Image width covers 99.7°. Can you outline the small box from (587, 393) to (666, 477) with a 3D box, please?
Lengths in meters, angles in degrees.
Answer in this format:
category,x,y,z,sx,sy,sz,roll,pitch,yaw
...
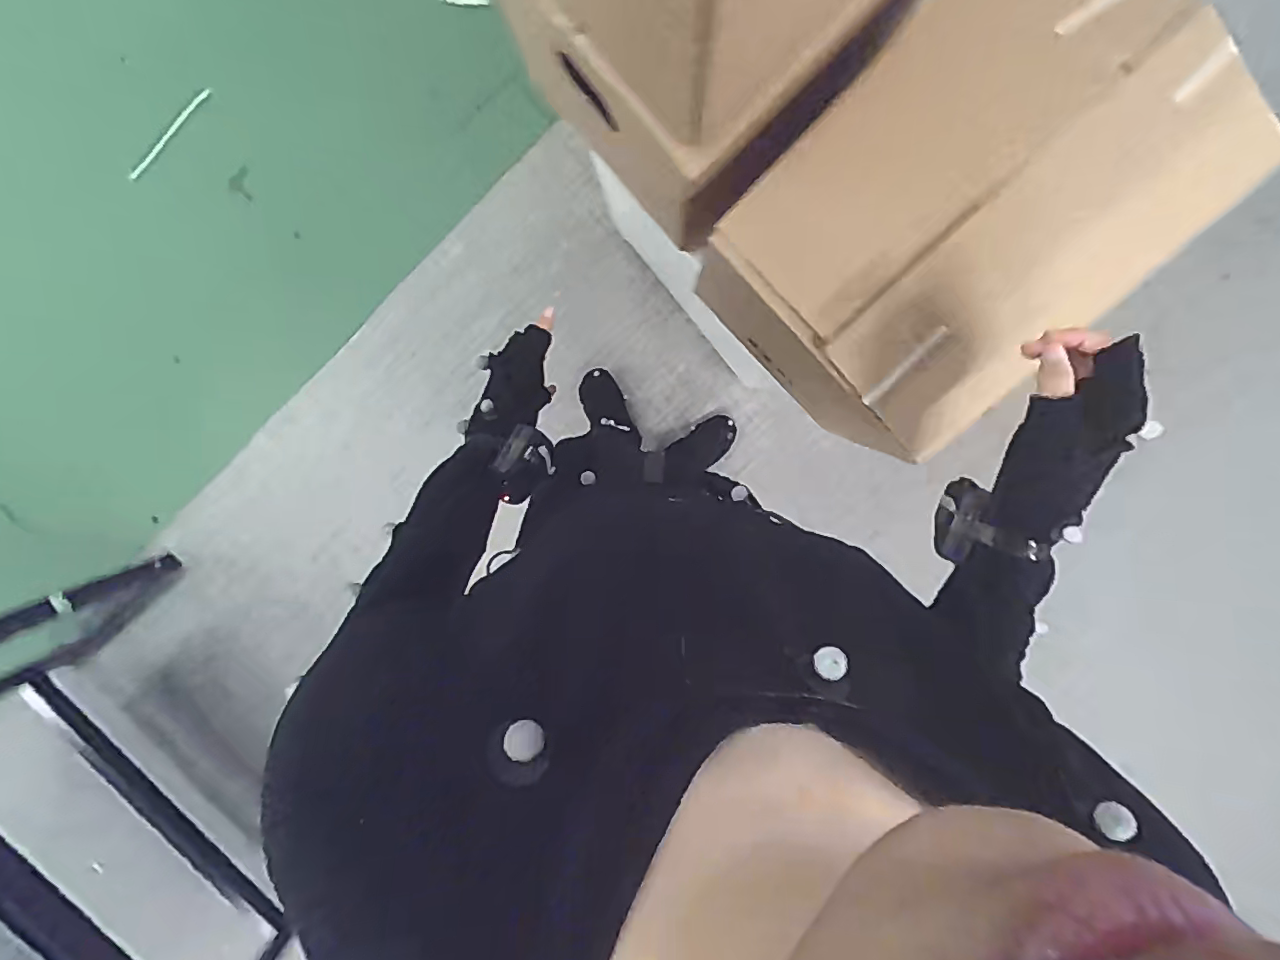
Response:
category,x,y,z,sx,sy,sz,roll,pitch,yaw
small box,-0.038,-0.120,1.400,0.168,0.176,0.179,-6,110,-17
